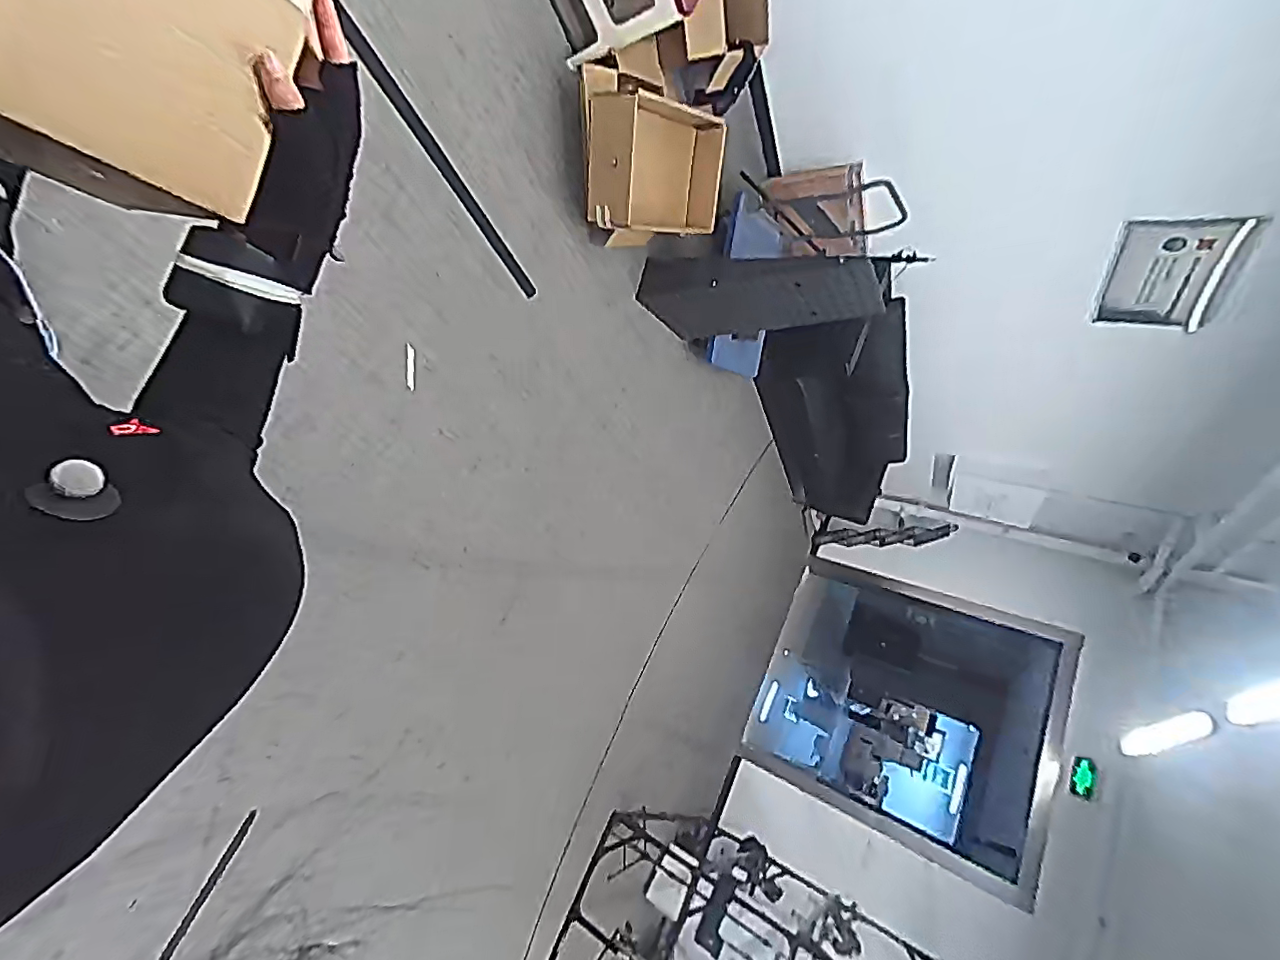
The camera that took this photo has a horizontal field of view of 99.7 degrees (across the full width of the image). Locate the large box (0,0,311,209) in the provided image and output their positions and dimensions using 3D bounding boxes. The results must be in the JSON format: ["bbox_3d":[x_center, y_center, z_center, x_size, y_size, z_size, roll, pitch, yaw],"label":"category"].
[{"bbox_3d":[-0.454,-0.405,0.293,0.408,0.320,0.320,15,96,-57],"label":"large box"}]
